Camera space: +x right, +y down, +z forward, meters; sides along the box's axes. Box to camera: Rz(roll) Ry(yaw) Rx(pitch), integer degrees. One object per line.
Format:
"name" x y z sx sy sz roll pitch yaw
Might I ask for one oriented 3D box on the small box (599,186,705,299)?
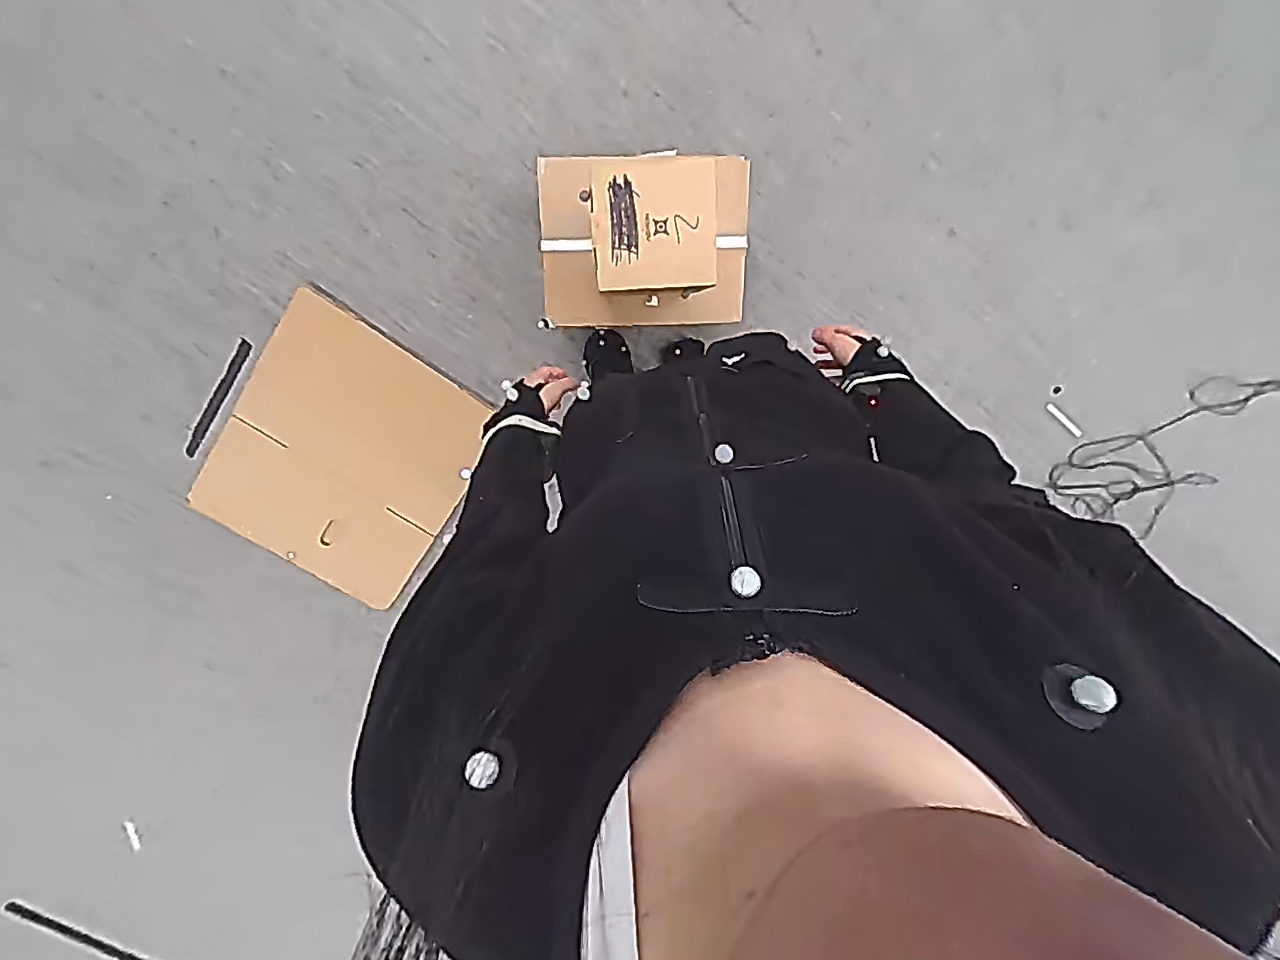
"small box" 0.020 -0.423 0.988 0.179 0.176 0.168 -4 107 -2
